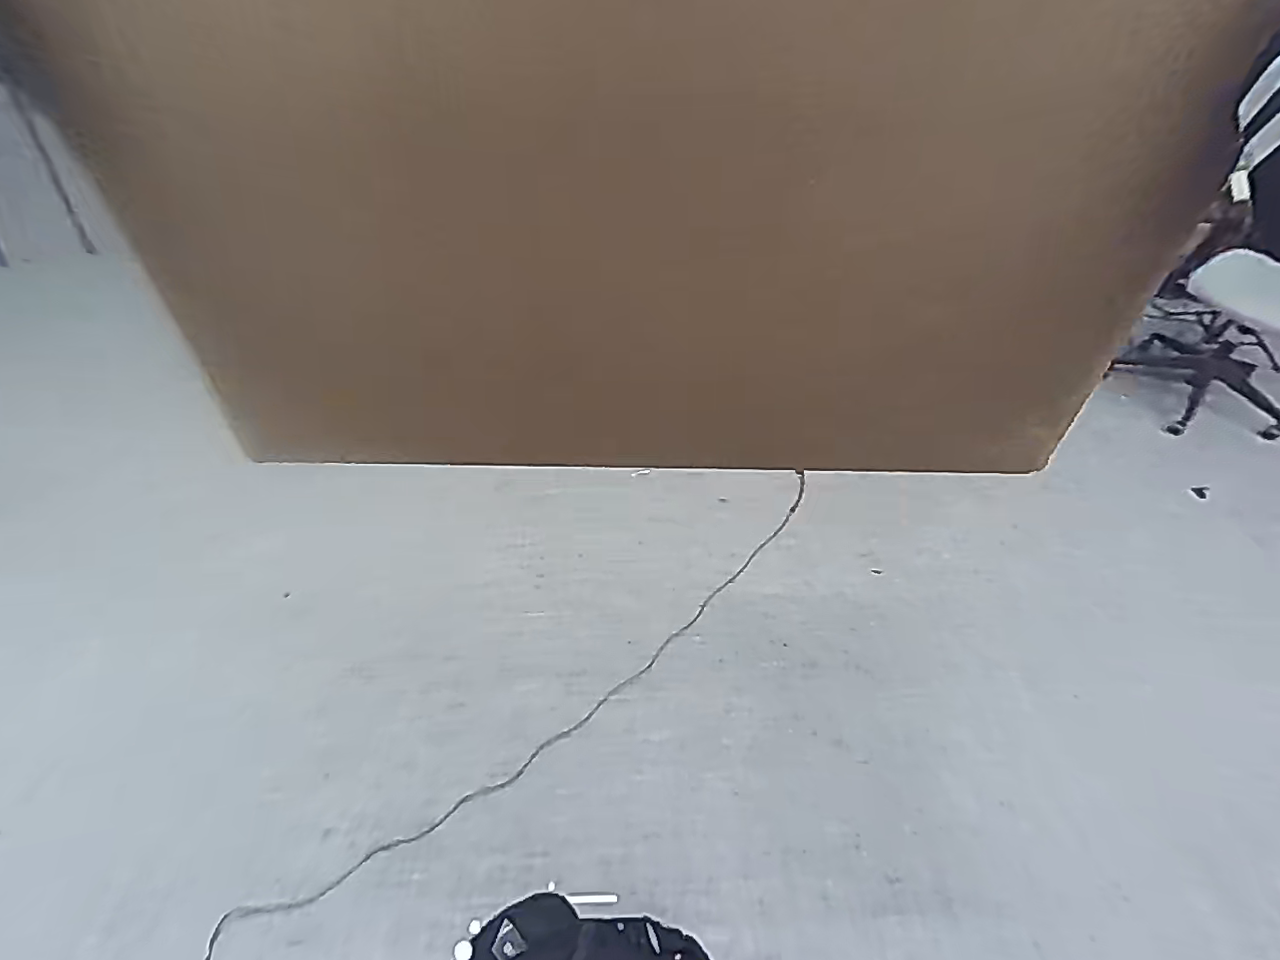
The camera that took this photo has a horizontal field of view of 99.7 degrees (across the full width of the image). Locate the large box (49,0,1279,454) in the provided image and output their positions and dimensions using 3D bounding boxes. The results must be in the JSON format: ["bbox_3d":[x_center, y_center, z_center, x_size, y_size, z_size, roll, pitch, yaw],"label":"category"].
[{"bbox_3d":[0.010,-0.225,0.297,0.408,0.320,0.320,2,41,0],"label":"large box"}]
